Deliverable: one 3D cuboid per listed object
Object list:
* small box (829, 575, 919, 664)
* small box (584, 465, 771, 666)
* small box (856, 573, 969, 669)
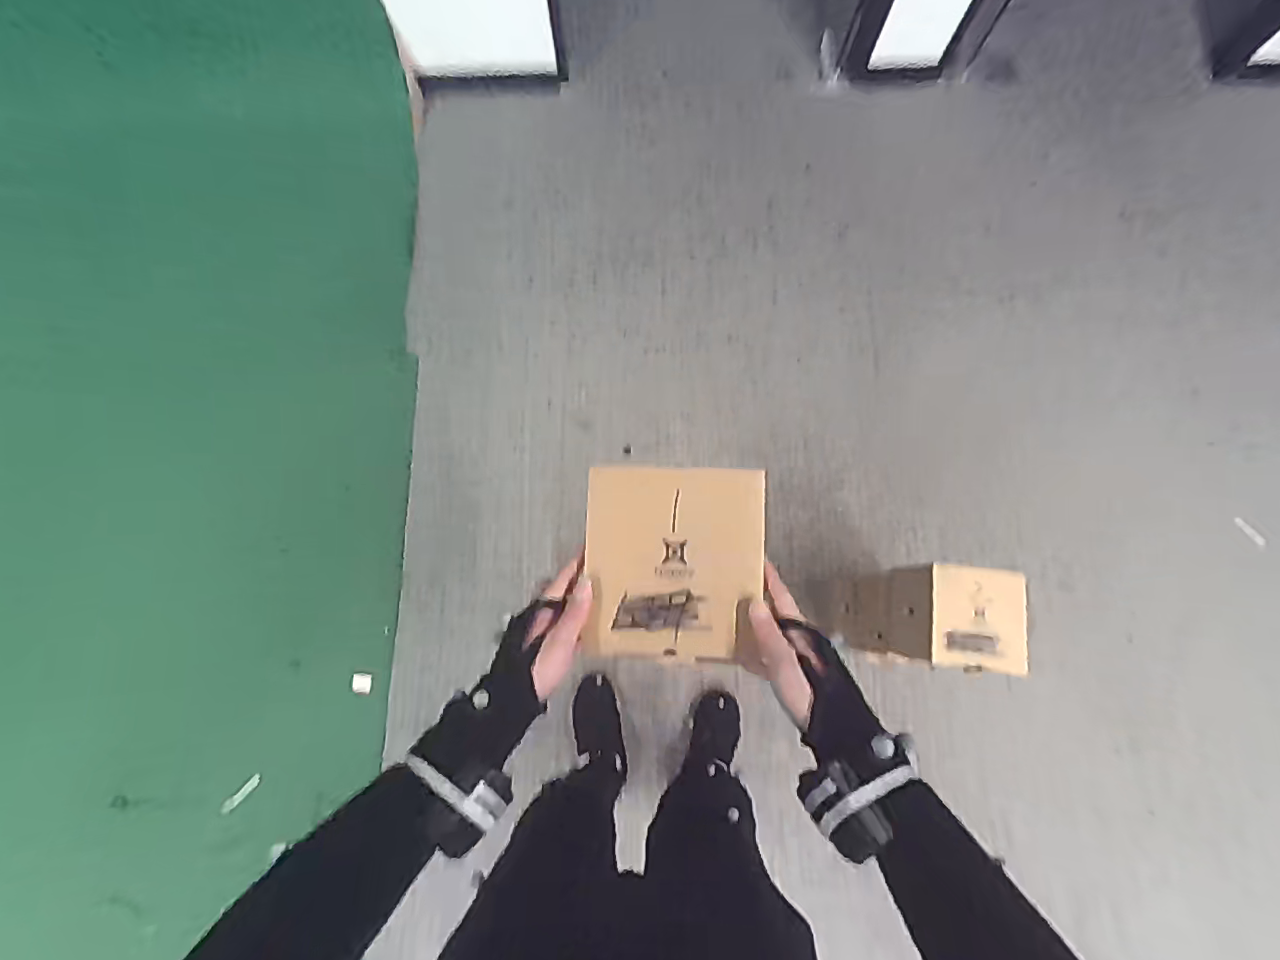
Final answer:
[{"bbox_3d":[0.578,0.339,1.332,0.168,0.176,0.179,11,79,5],"label":"small box"},{"bbox_3d":[0.039,0.081,0.566,0.168,0.176,0.179,2,85,3],"label":"small box"},{"bbox_3d":[0.584,0.302,1.176,0.168,0.176,0.179,6,78,1],"label":"small box"}]
